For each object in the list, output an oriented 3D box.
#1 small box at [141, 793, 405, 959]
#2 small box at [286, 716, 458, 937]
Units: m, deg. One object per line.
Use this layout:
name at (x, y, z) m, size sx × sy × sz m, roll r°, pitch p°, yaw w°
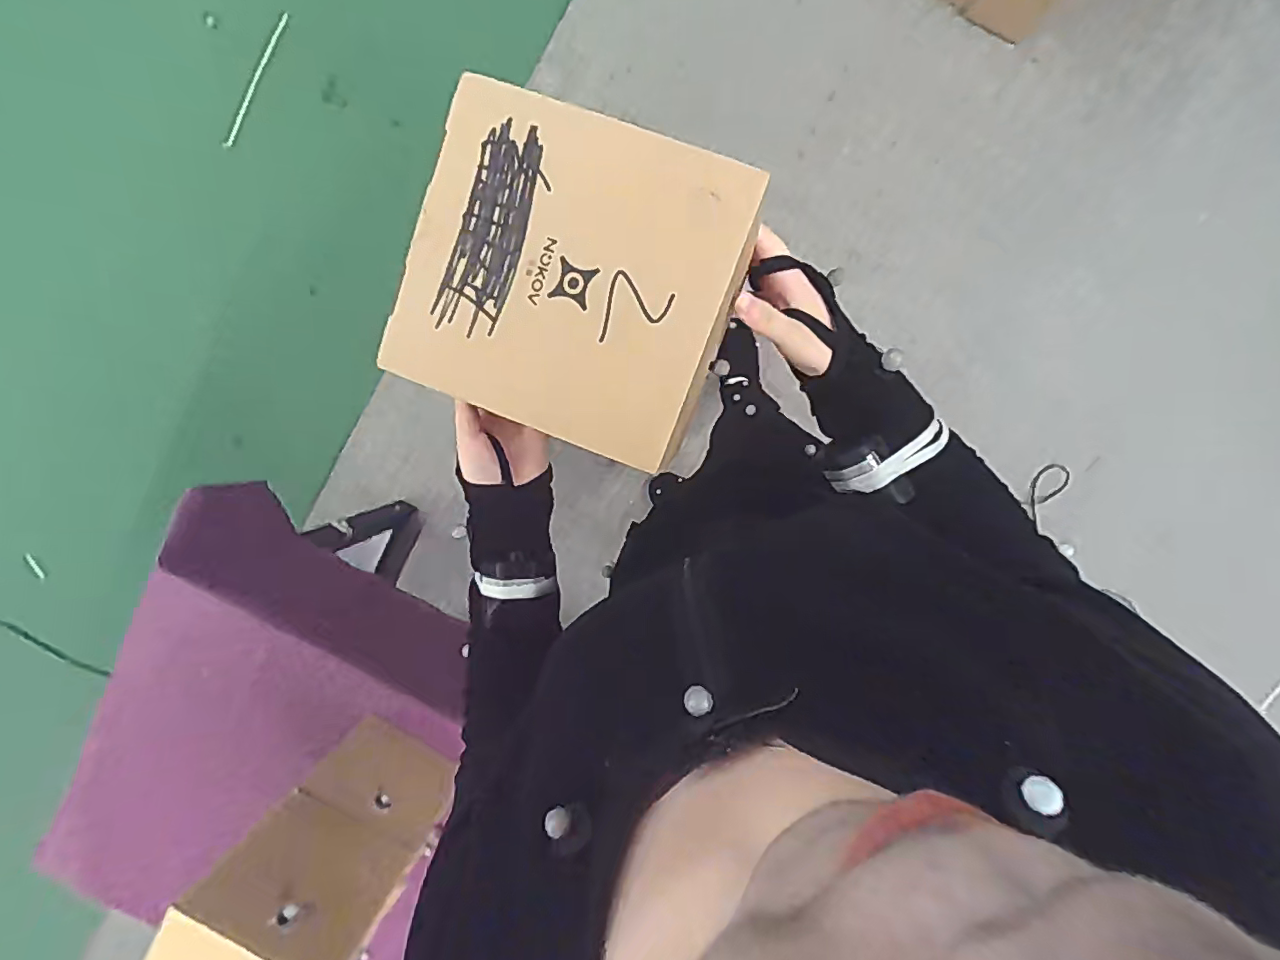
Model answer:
small box at (-0.407, 0.497, 0.609) m, size 0.179 × 0.176 × 0.168 m, roll 29°, pitch 99°, yaw -1°
small box at (-0.392, 0.477, 0.770) m, size 0.179 × 0.176 × 0.168 m, roll 30°, pitch 99°, yaw 0°
